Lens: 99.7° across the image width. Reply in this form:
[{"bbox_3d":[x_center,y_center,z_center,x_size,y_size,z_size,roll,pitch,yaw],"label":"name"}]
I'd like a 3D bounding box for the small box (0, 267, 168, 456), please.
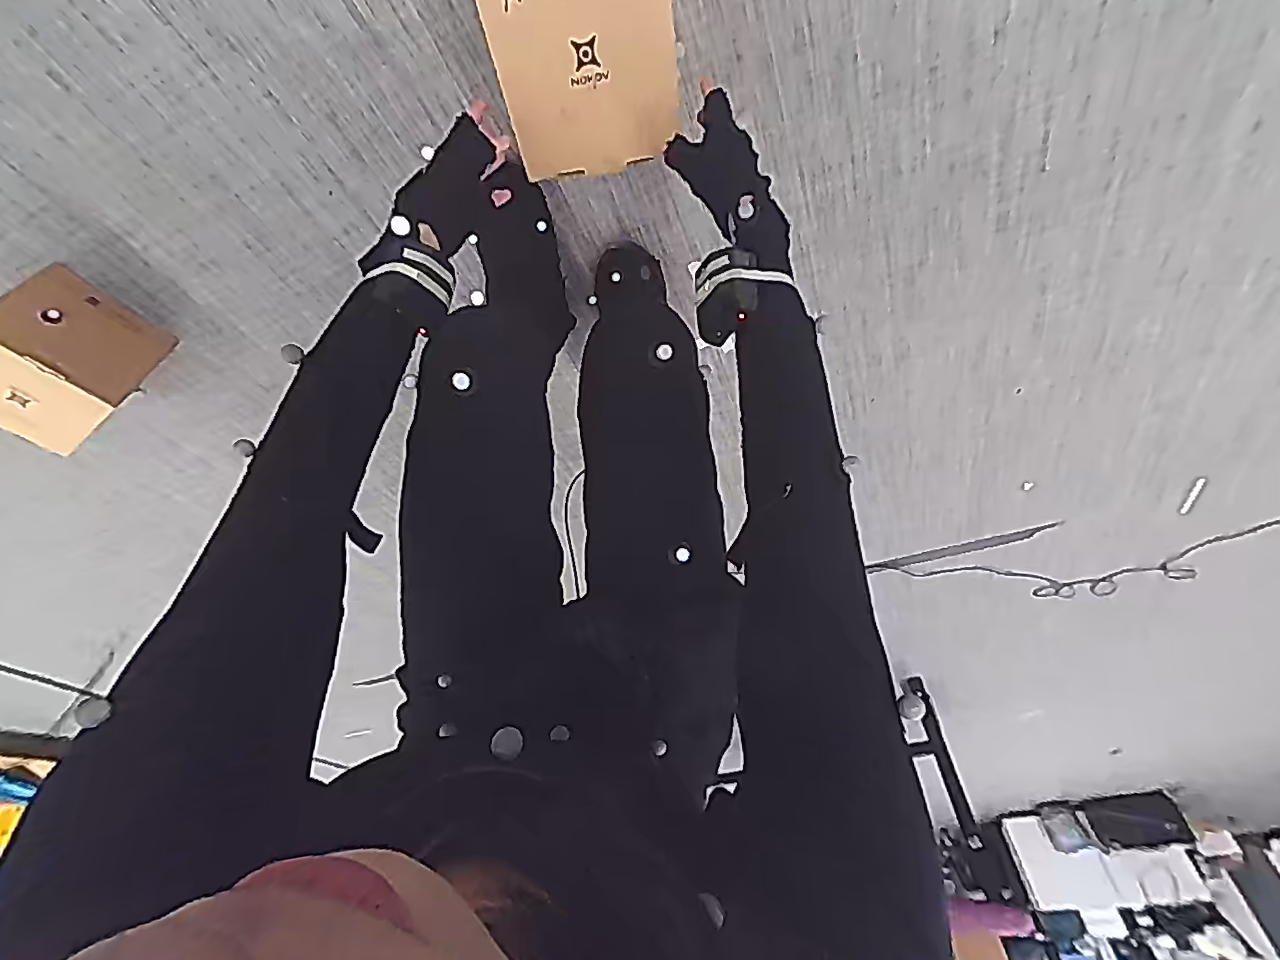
[{"bbox_3d":[-0.846,-0.172,0.787,0.179,0.176,0.168,-25,132,24],"label":"small box"}]

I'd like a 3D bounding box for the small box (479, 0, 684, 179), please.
[{"bbox_3d":[-0.050,-0.435,0.537,0.168,0.176,0.179,-8,138,4],"label":"small box"}]
